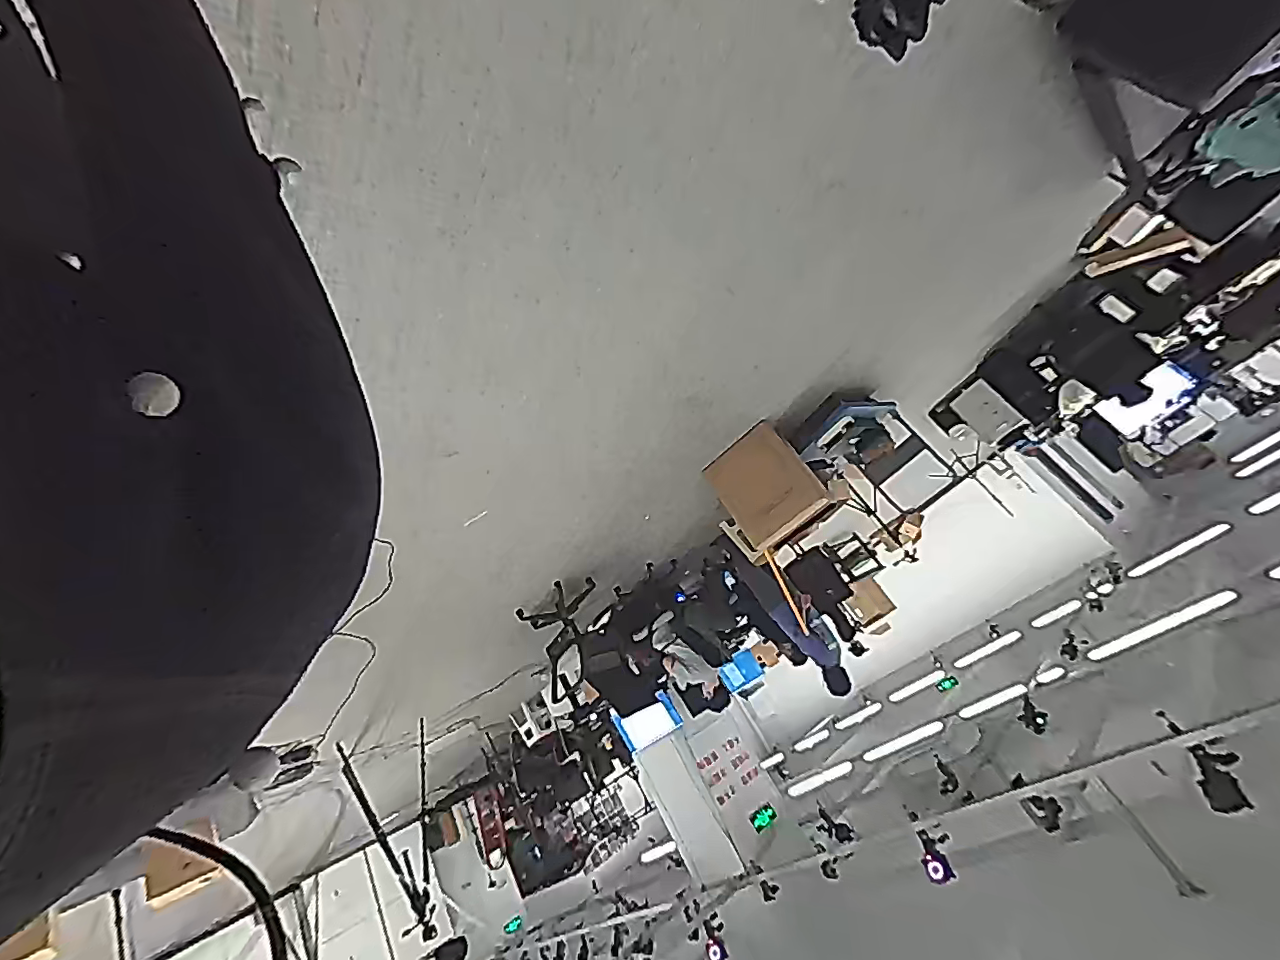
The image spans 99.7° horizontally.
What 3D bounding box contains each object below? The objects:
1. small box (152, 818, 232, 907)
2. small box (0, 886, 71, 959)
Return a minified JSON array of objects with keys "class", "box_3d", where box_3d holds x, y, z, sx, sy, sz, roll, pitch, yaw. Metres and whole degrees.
[{"class":"small box","box_3d":[-1.462,1.245,1.767,0.179,0.176,0.168,-10,147,-39]},{"class":"small box","box_3d":[-1.730,1.282,1.514,0.168,0.176,0.179,-8,145,-43]}]
